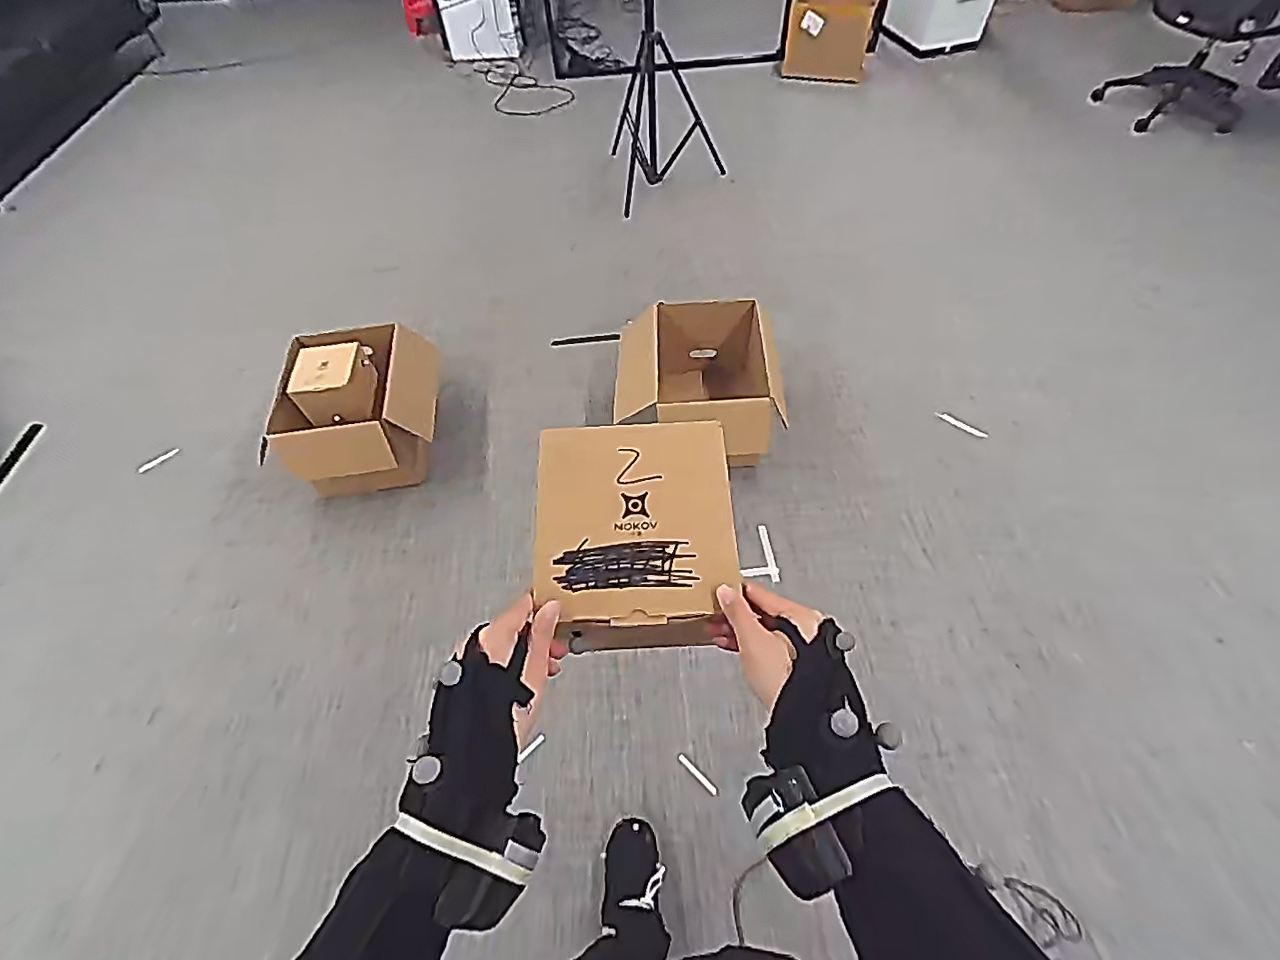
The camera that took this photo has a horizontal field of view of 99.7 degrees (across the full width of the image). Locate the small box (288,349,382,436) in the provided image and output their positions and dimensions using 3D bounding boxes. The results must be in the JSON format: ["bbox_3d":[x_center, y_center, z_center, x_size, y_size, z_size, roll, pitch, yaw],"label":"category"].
[{"bbox_3d":[-0.870,-0.252,1.565,0.168,0.176,0.179,-8,56,-1],"label":"small box"}]
